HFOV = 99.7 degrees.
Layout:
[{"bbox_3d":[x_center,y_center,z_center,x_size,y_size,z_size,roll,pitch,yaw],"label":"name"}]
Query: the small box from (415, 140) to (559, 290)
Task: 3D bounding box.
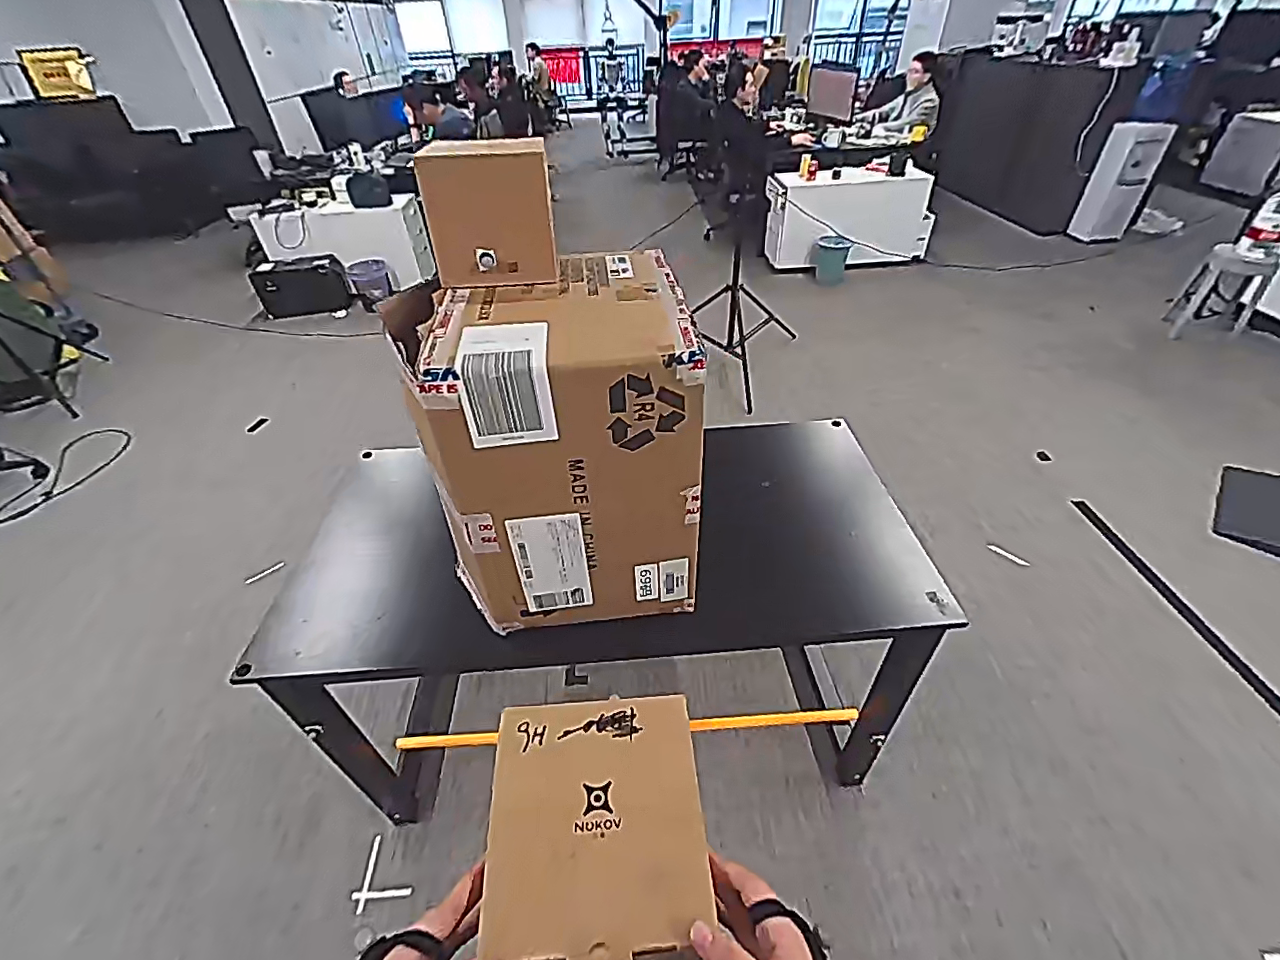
[{"bbox_3d":[-0.212,-0.391,0.795,0.168,0.176,0.179,-7,38,-6],"label":"small box"}]
